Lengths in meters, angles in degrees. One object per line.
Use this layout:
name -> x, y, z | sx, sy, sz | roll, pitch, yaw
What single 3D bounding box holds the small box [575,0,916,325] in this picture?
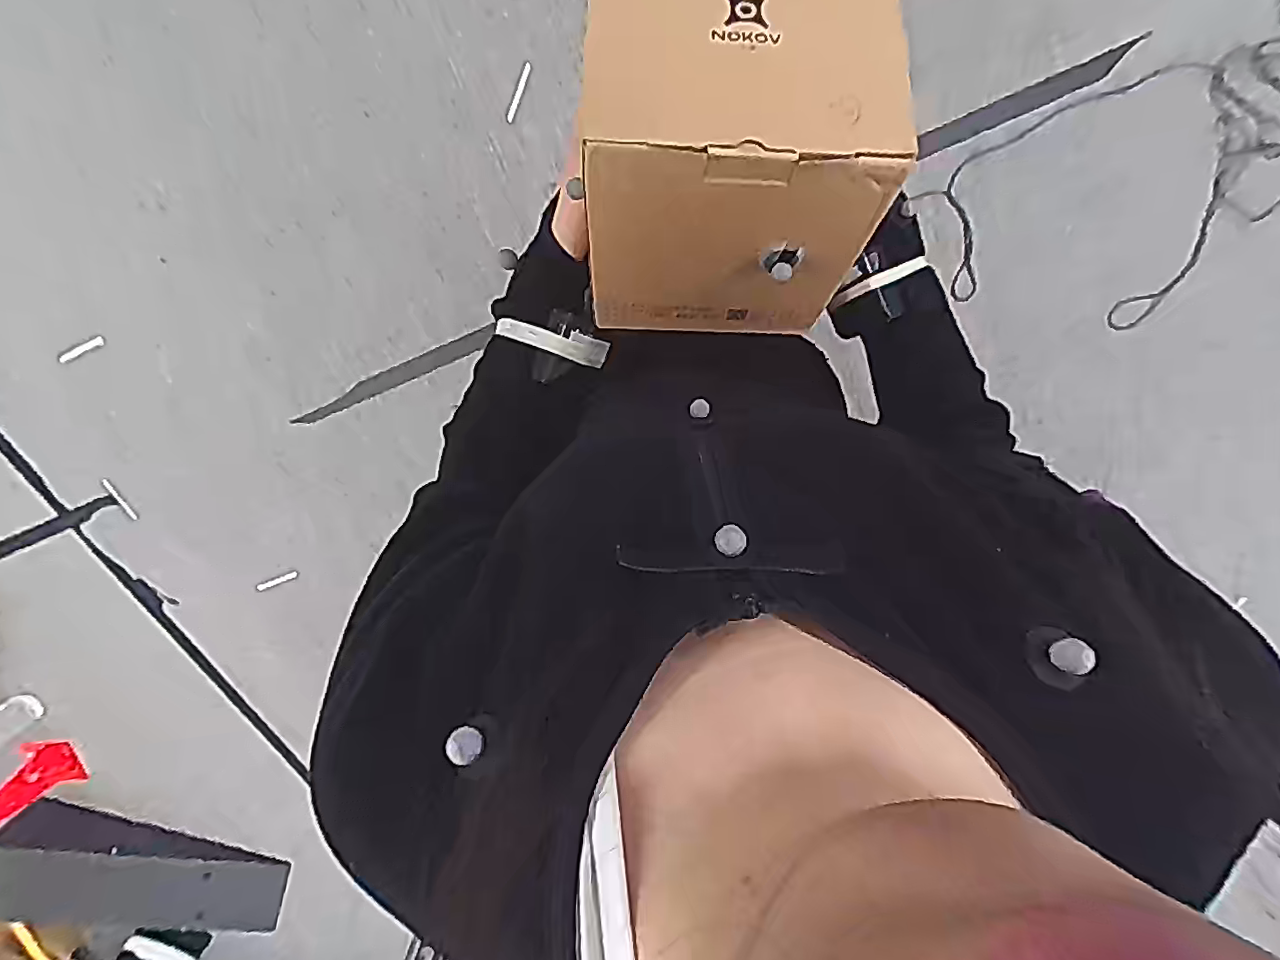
small box -> 0.050, -0.220, 0.354 | 0.168, 0.176, 0.179 | 2, 74, -3
